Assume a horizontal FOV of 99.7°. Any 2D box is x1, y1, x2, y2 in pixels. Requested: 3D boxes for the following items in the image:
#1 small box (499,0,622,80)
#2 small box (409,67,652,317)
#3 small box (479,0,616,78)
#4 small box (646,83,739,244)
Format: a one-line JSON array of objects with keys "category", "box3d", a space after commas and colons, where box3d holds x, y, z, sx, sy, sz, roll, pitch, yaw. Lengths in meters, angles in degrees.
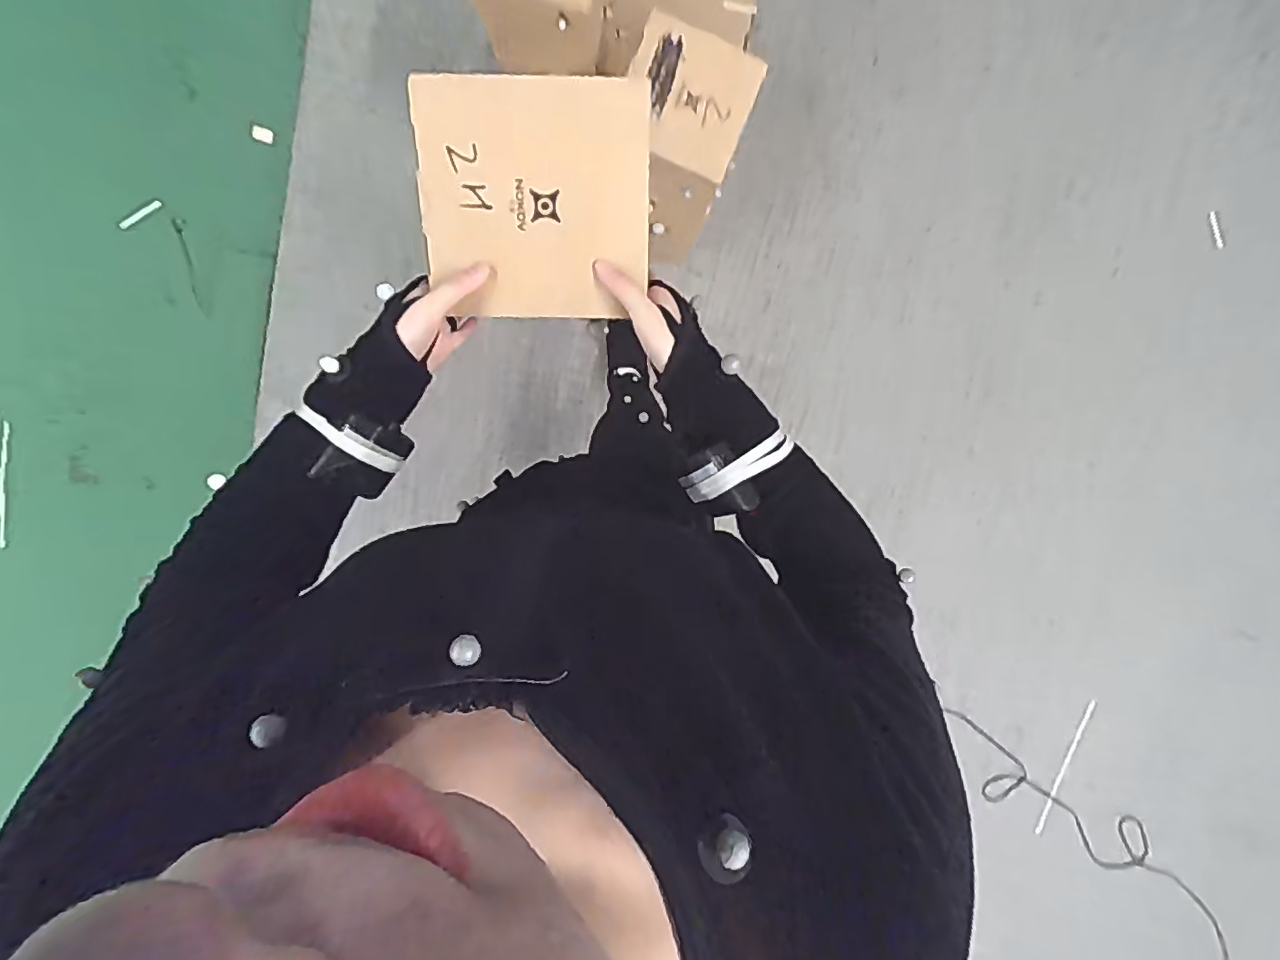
[{"category": "small box", "box3d": [-0.130, -0.754, 0.953, 0.179, 0.176, 0.168, 12, 98, -2]}, {"category": "small box", "box3d": [-0.083, -0.239, 0.488, 0.179, 0.176, 0.168, 2, 108, -1]}, {"category": "small box", "box3d": [-0.134, -0.734, 0.791, 0.179, 0.176, 0.168, 12, 98, -3]}, {"category": "small box", "box3d": [0.060, -0.561, 0.984, 0.168, 0.176, 0.179, 18, 98, -4]}]
